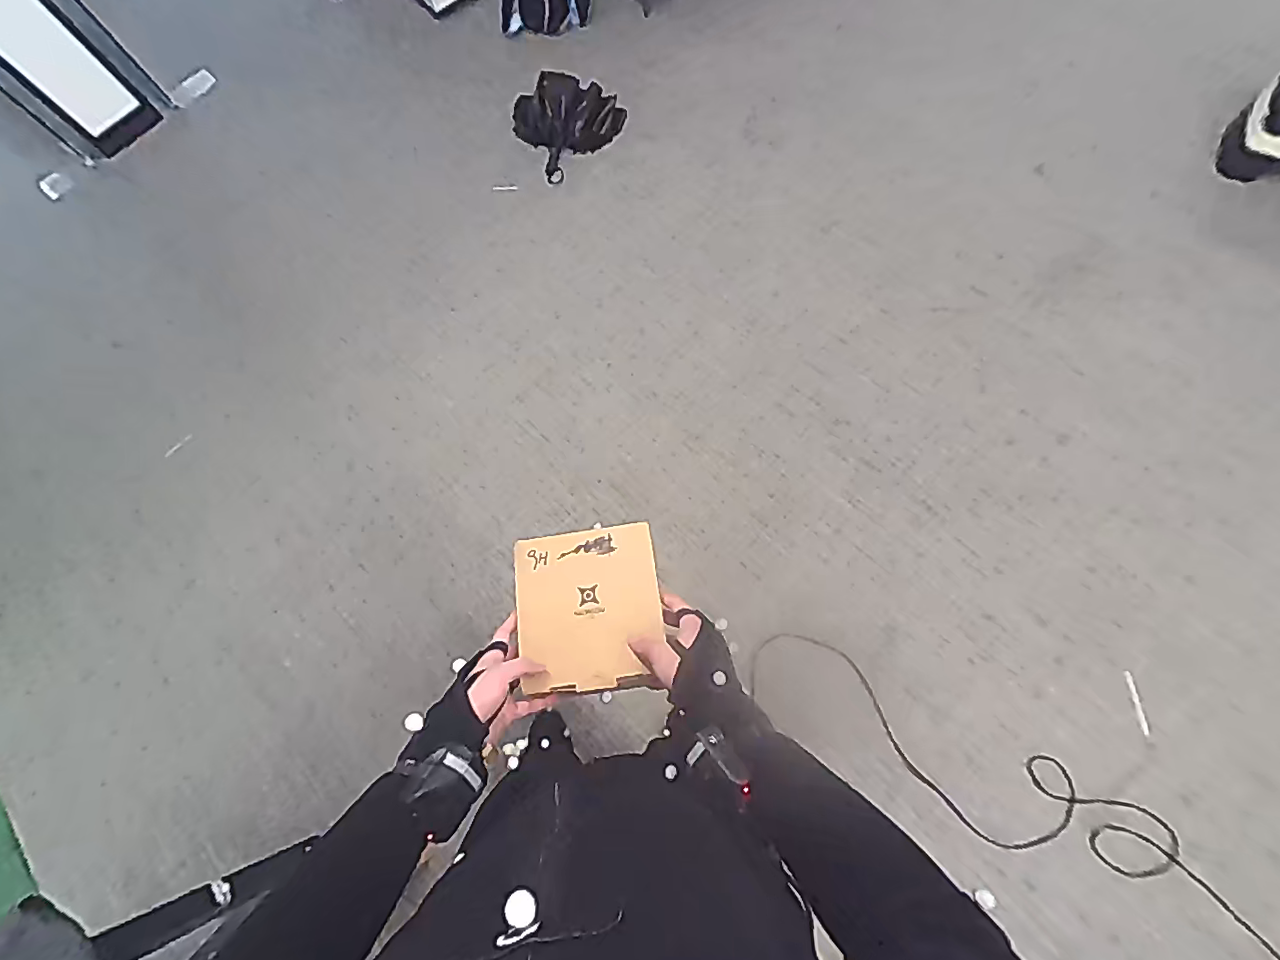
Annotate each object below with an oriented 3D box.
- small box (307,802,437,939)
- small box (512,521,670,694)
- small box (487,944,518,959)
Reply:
[{"bbox_3d":[-0.611,0.889,1.252,0.179,0.176,0.168,-40,71,-9],"label":"small box"},{"bbox_3d":[-0.055,0.169,0.685,0.168,0.176,0.179,-9,66,1],"label":"small box"},{"bbox_3d":[-0.322,1.140,1.130,0.179,0.176,0.168,-45,70,-7],"label":"small box"}]
